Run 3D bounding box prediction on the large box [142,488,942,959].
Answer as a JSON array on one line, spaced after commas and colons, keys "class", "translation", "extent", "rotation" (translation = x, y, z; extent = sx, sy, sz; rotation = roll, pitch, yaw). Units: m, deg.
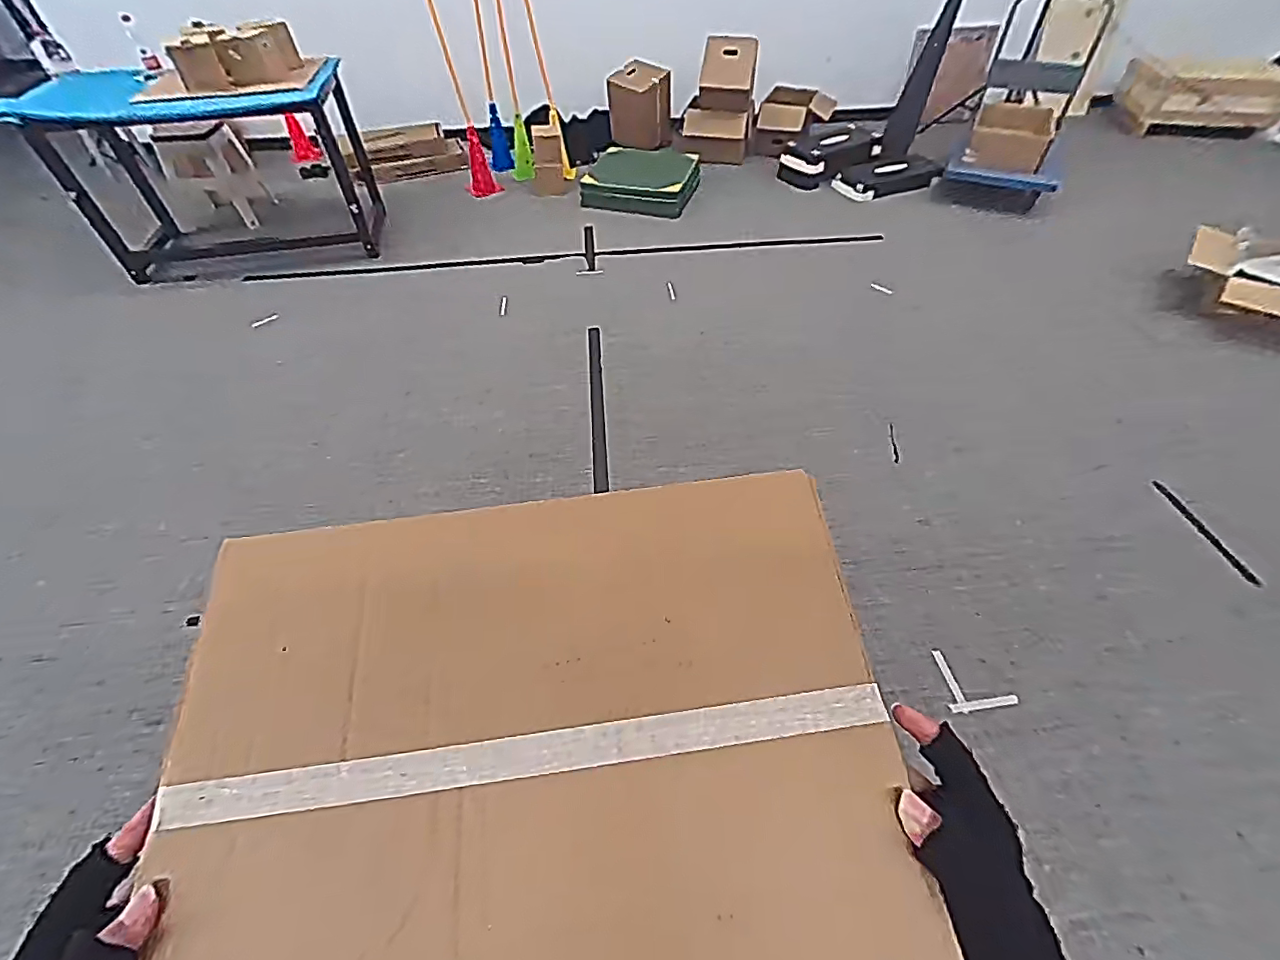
[{"class": "large box", "translation": [-0.057, 0.232, 0.443], "extent": [0.408, 0.320, 0.320], "rotation": [-7, 62, -2]}]
